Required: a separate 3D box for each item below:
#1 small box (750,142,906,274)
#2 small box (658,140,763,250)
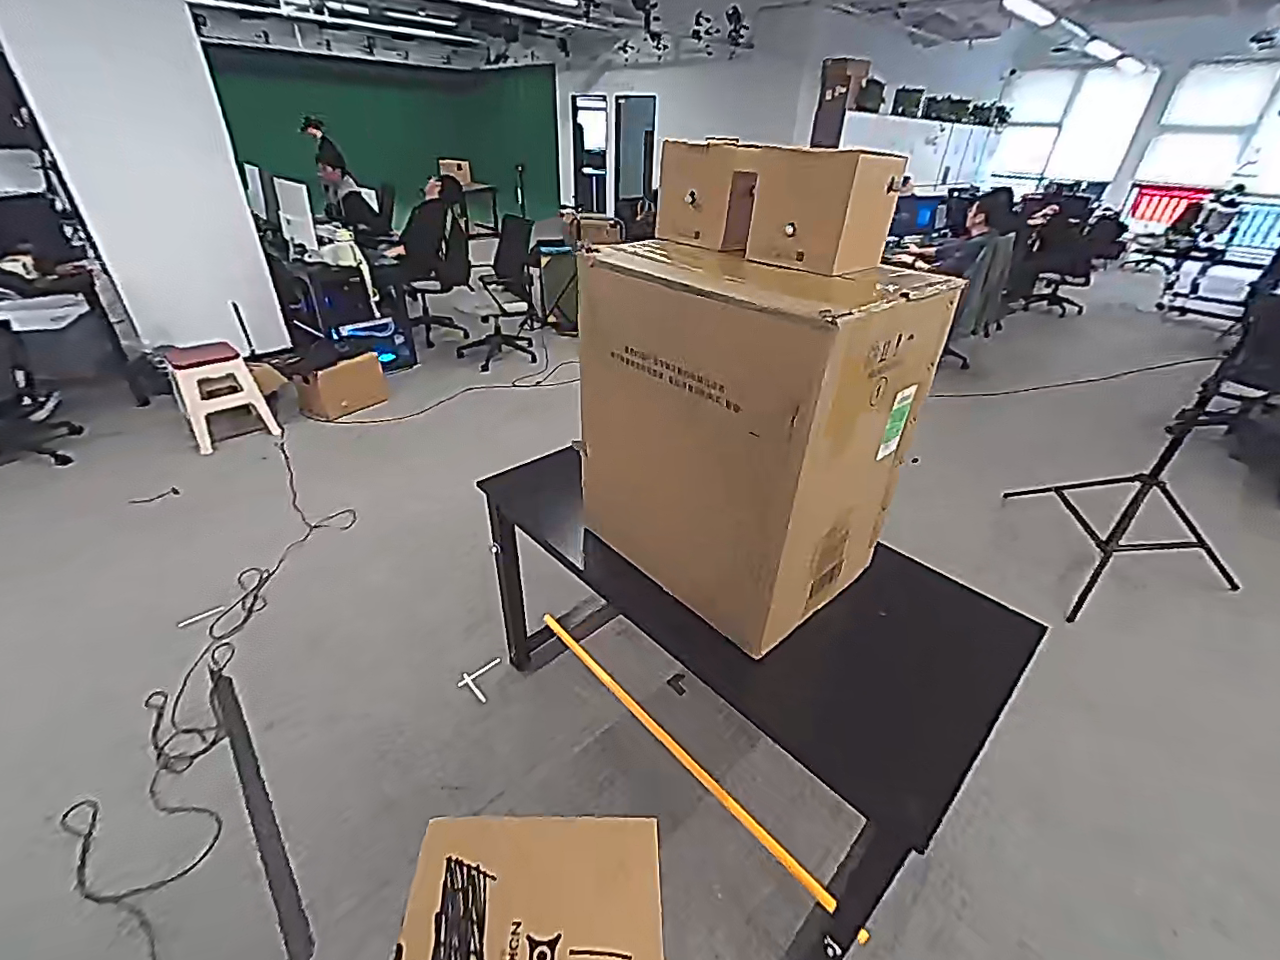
[{"bbox_3d":[0.298,-0.444,0.883,0.168,0.176,0.179,29,39,36],"label":"small box"},{"bbox_3d":[0.148,-0.540,1.024,0.168,0.176,0.179,29,40,33],"label":"small box"}]
